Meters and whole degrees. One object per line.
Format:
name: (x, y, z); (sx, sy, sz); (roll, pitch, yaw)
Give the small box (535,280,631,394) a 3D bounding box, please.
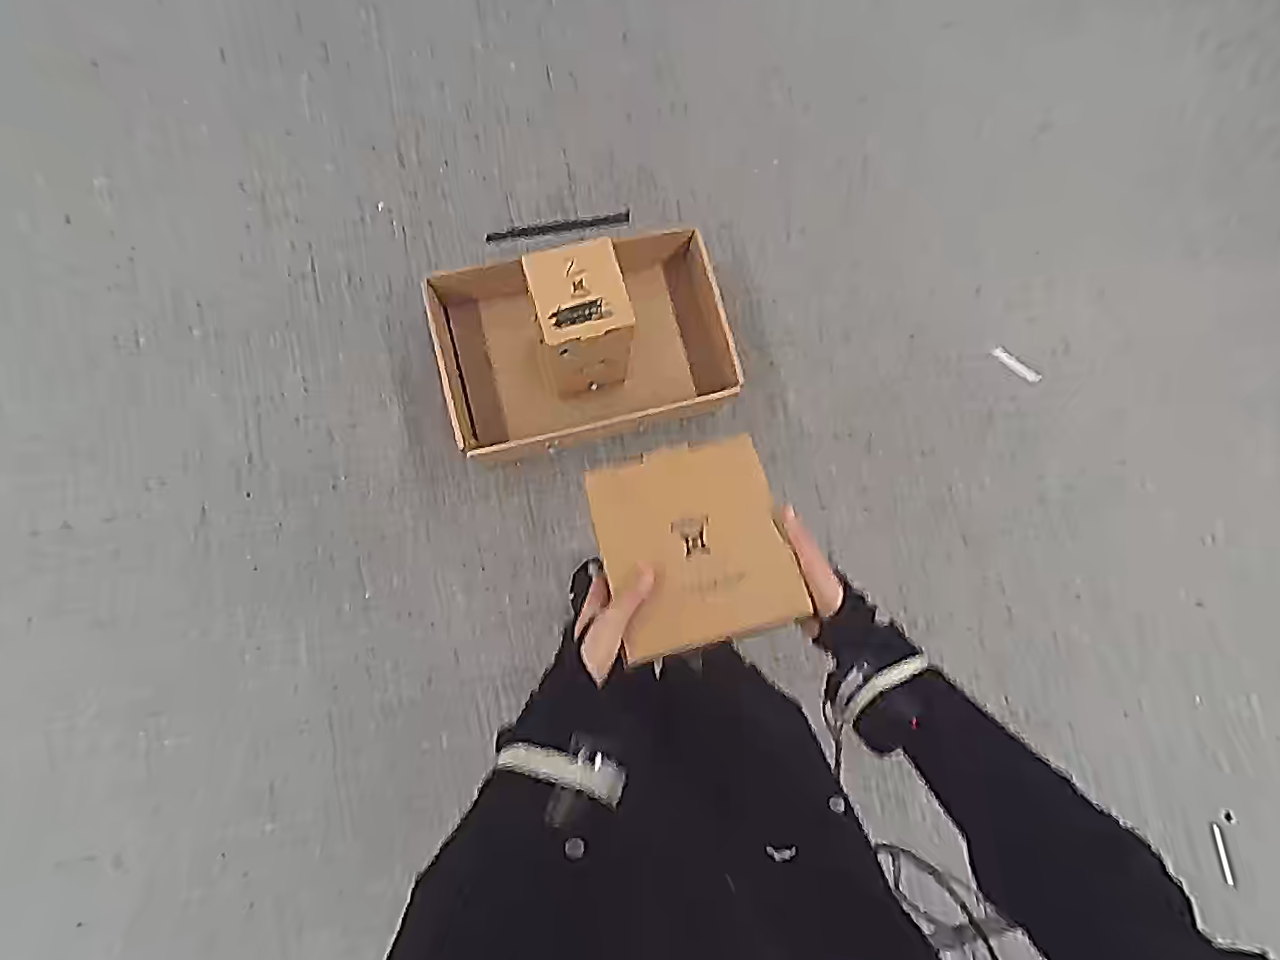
small box: (-0.127, -0.310, 1.200); (0.168, 0.176, 0.179); (-16, 85, -7)
